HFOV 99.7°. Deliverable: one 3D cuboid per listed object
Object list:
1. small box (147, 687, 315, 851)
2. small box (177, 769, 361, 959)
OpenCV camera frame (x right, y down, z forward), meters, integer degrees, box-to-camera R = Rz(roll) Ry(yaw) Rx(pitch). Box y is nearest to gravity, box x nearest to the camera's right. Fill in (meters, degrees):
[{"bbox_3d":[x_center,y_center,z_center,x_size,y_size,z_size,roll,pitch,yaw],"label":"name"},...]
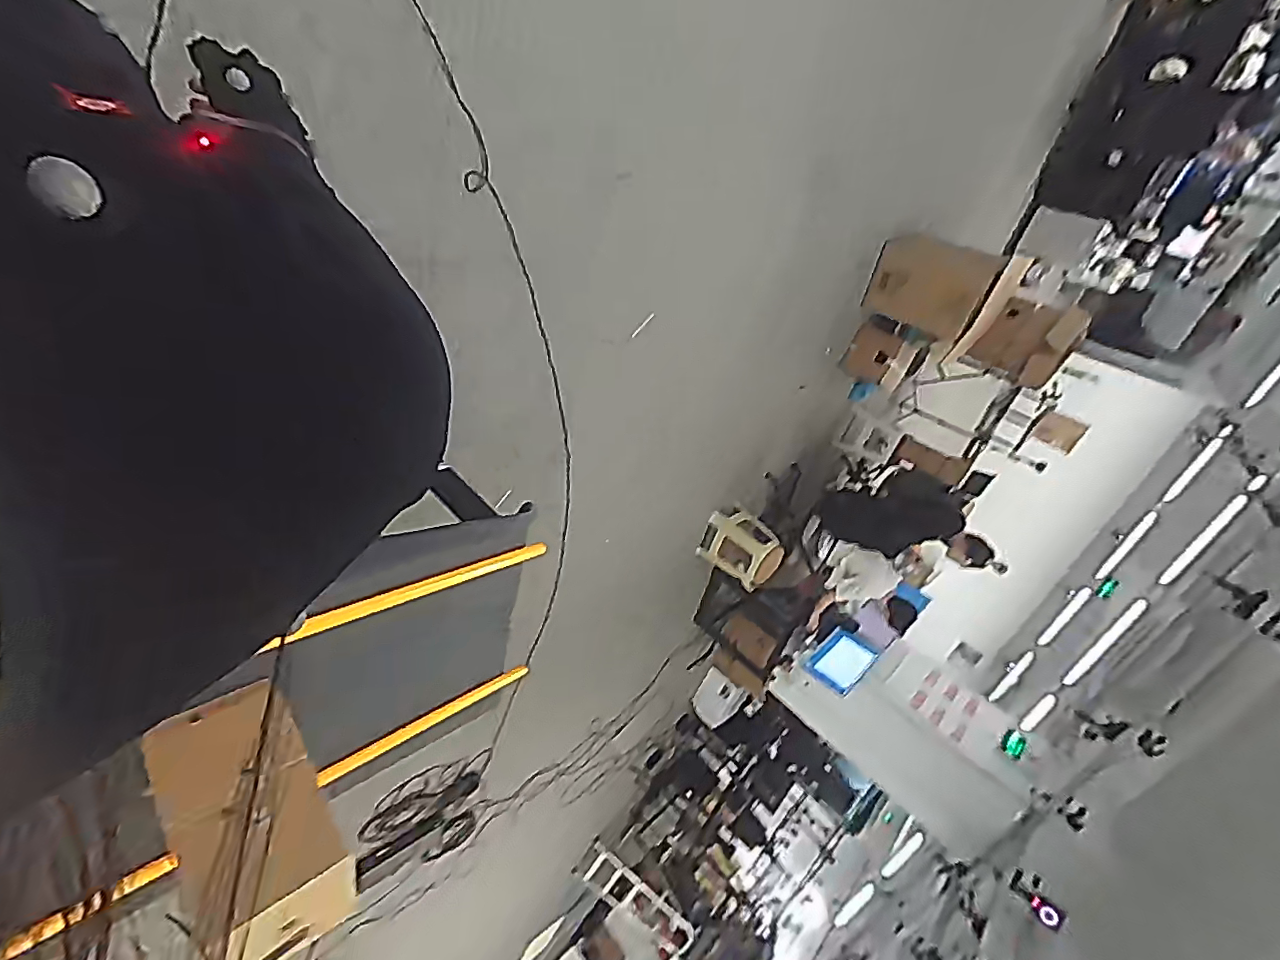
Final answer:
[{"bbox_3d":[-0.612,0.457,0.824,0.168,0.176,0.179,-20,135,-43],"label":"small box"},{"bbox_3d":[-0.500,0.543,0.739,0.168,0.176,0.179,-17,132,-44],"label":"small box"}]
